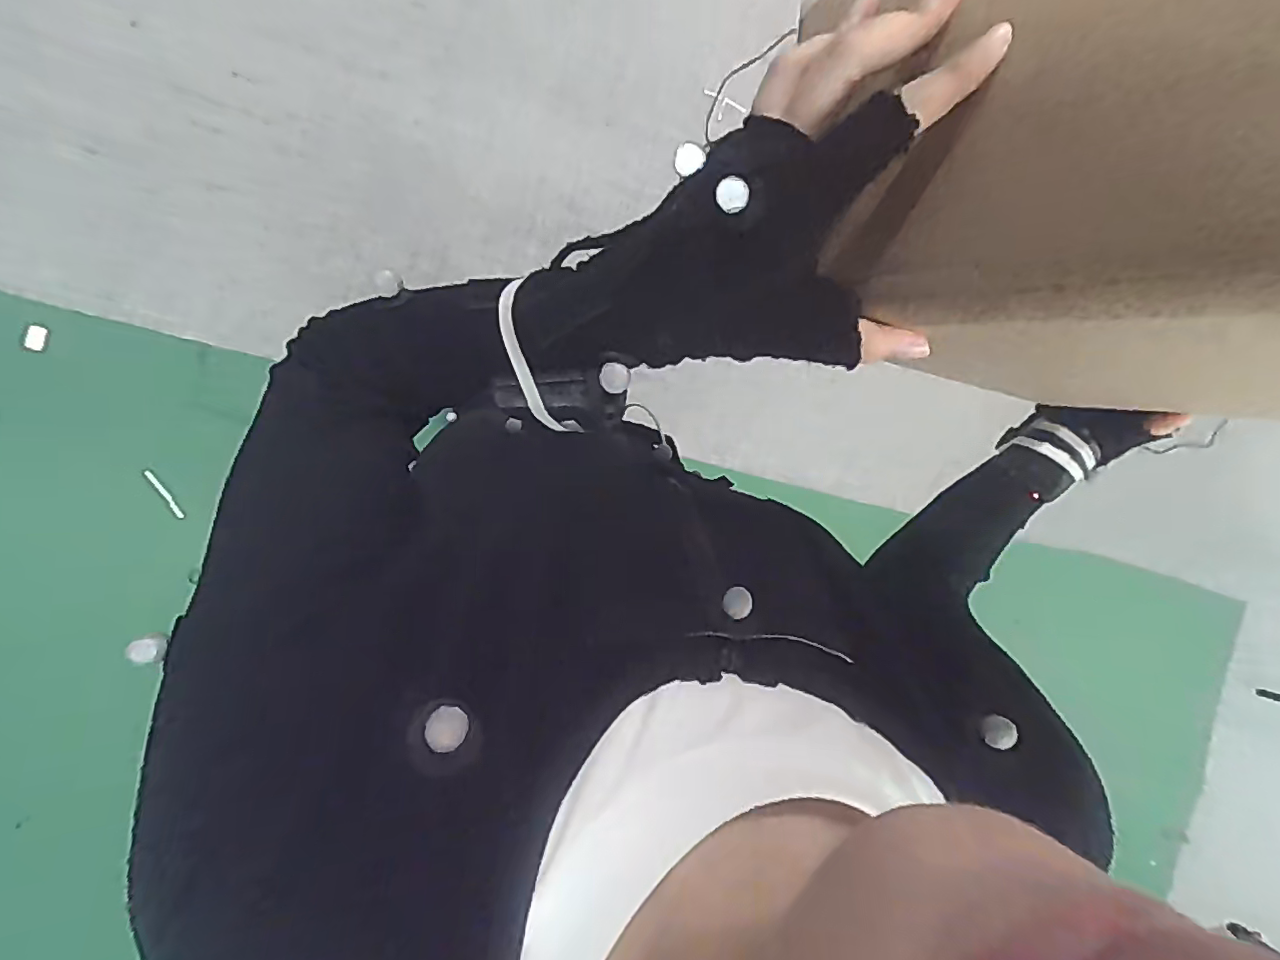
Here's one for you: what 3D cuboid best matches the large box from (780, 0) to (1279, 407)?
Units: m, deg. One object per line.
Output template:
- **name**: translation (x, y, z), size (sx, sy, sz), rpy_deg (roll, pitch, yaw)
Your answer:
- **large box**: translation (0.327, -0.204, 0.260), size (0.408, 0.320, 0.320), rpy_deg (1, 100, -36)
